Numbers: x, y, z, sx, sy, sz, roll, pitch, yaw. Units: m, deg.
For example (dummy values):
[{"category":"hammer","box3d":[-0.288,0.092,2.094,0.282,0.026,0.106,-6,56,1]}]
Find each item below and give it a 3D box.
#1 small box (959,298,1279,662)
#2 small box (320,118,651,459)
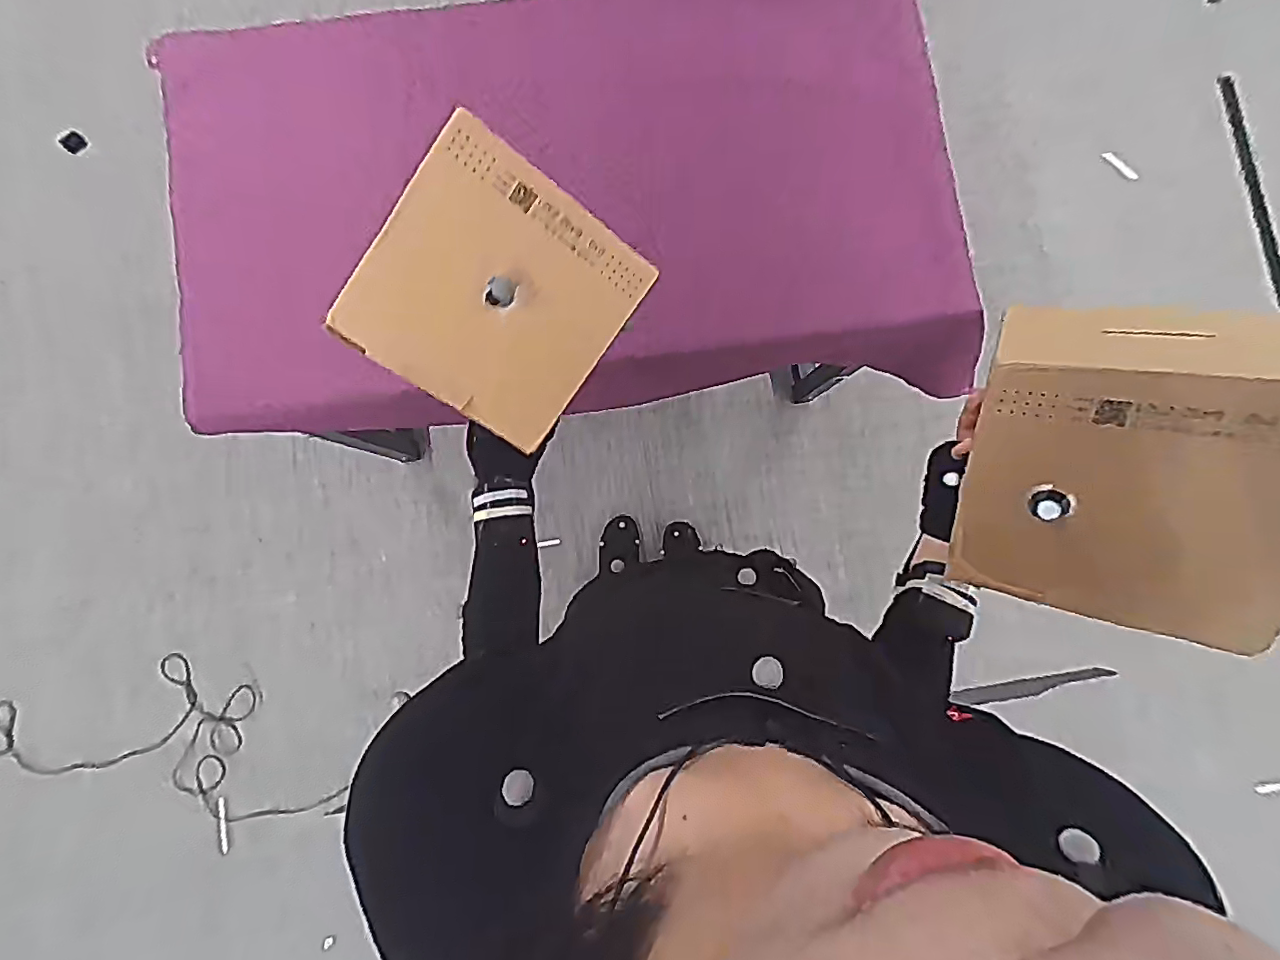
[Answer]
[{"category":"small box","box3d":[0.329,-0.021,0.363,0.168,0.179,0.176,14,123,30]},{"category":"small box","box3d":[-0.112,-0.146,0.440,0.168,0.179,0.176,35,97,-19]}]
